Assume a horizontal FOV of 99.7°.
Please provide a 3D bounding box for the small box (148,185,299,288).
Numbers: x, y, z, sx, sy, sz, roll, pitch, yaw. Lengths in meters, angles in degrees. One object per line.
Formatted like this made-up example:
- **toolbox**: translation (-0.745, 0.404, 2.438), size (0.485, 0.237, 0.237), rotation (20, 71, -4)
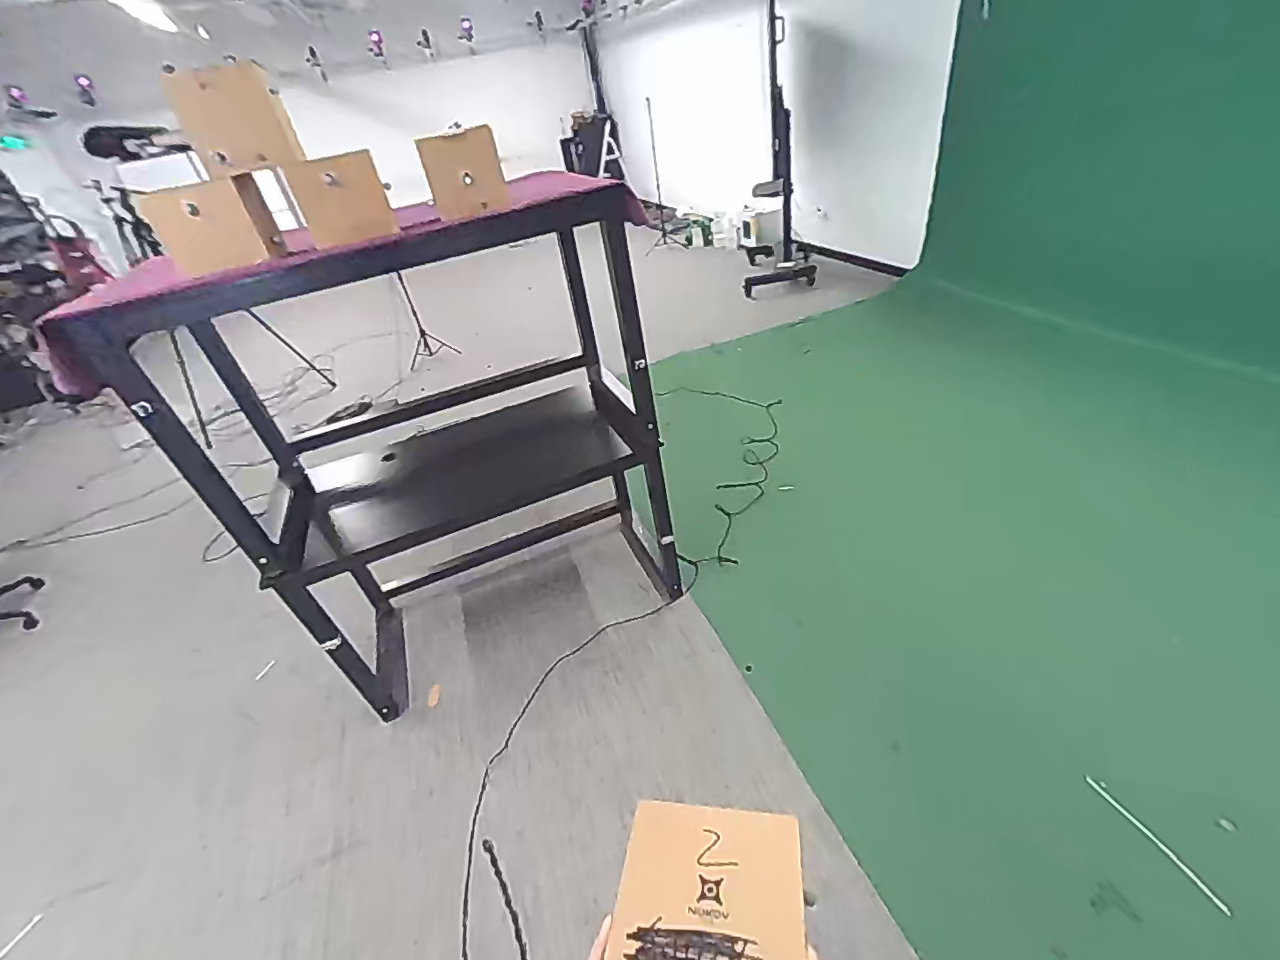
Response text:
- **small box**: translation (-0.880, -0.527, 1.165), size (0.179, 0.176, 0.168), rotation (-17, 35, -10)

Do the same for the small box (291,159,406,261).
- **small box**: translation (-0.645, -0.611, 1.222), size (0.179, 0.176, 0.168), rotation (-21, 35, -13)

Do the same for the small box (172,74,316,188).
- **small box**: translation (-0.796, -0.708, 1.111), size (0.168, 0.176, 0.179), rotation (-20, 34, -13)
